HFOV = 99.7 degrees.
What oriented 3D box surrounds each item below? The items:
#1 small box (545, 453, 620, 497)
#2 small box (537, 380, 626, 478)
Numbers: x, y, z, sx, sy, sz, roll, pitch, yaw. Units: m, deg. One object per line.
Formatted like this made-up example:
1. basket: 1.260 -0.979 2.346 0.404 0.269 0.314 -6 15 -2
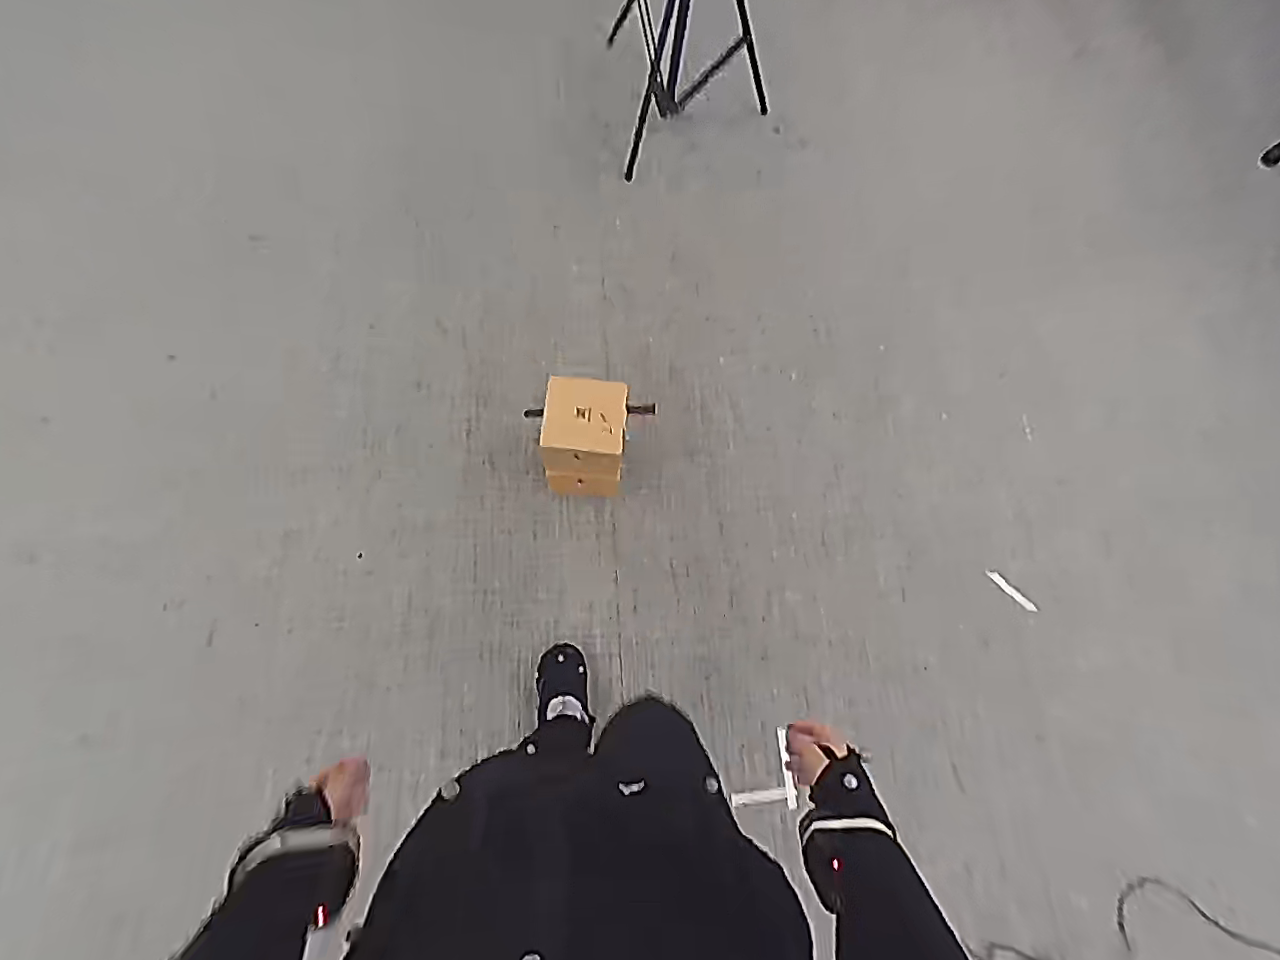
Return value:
1. small box: -0.144 -0.055 1.387 0.179 0.176 0.168 3 73 -5
2. small box: -0.130 -0.109 1.231 0.179 0.176 0.168 6 74 -4
